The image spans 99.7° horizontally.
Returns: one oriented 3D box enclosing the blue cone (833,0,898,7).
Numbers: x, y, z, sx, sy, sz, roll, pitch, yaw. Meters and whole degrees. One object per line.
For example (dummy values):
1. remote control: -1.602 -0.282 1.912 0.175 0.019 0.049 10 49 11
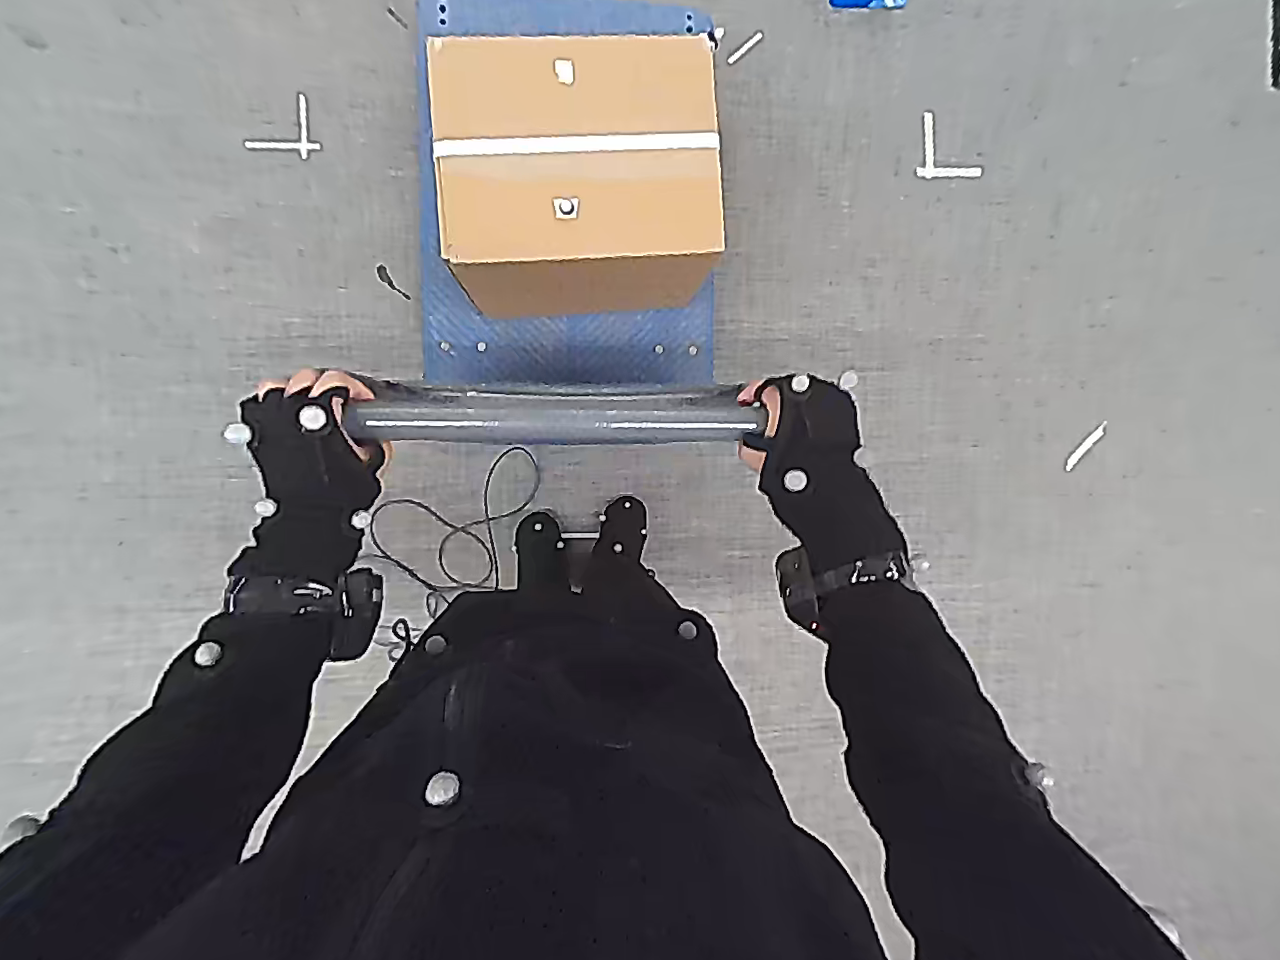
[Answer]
1. blue cone: 0.559 -1.240 1.146 0.193 0.380 0.192 -5 91 -7
